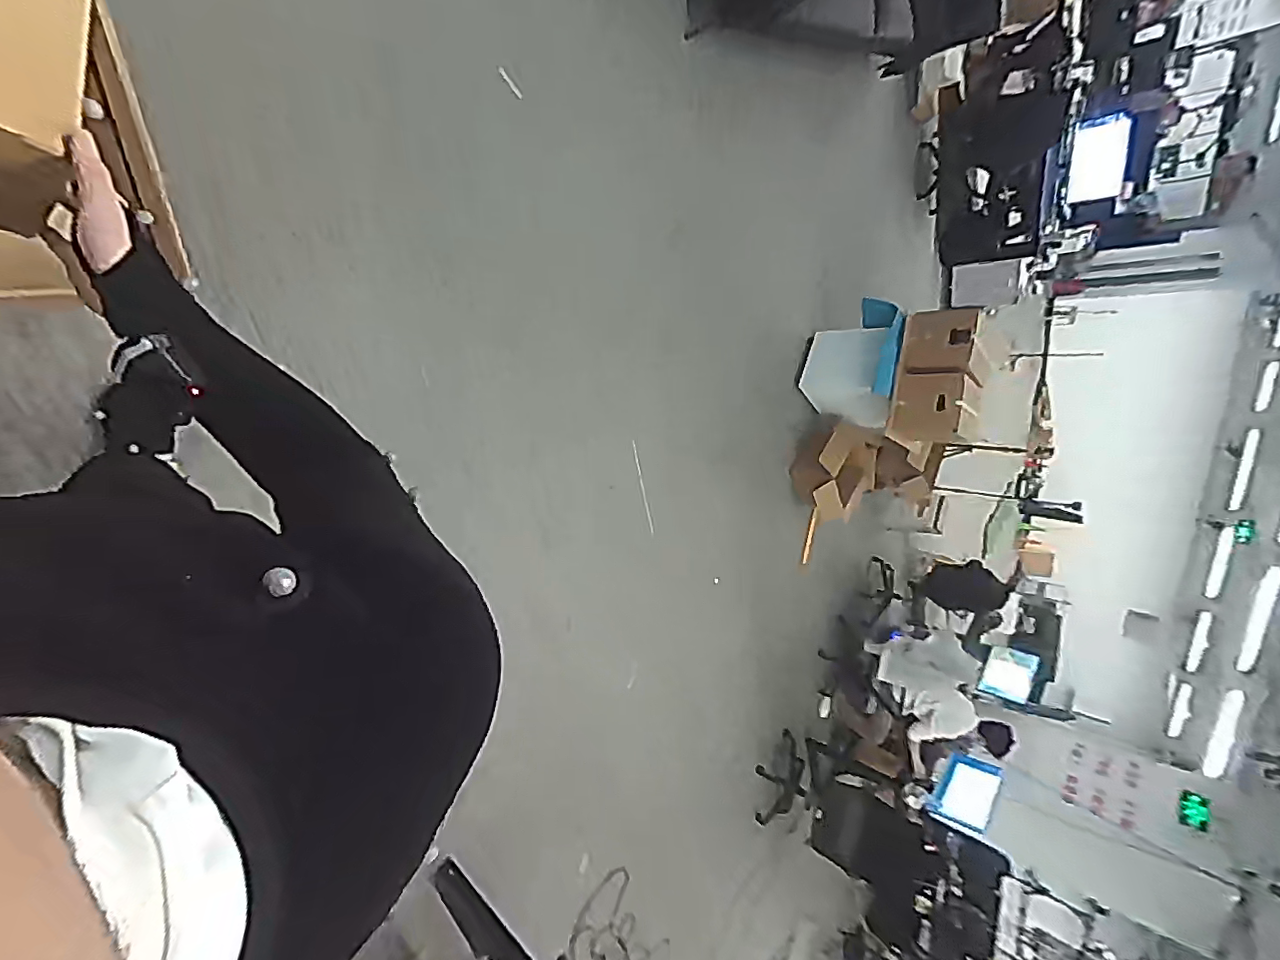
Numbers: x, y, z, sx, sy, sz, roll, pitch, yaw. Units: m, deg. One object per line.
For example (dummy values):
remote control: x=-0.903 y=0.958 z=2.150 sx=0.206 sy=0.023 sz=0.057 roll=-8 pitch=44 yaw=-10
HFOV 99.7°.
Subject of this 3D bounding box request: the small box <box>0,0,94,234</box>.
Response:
small box: x=-0.575 y=-0.333 z=0.429 sx=0.168 sy=0.176 sz=0.179 roll=5 pitch=81 yaw=-57
